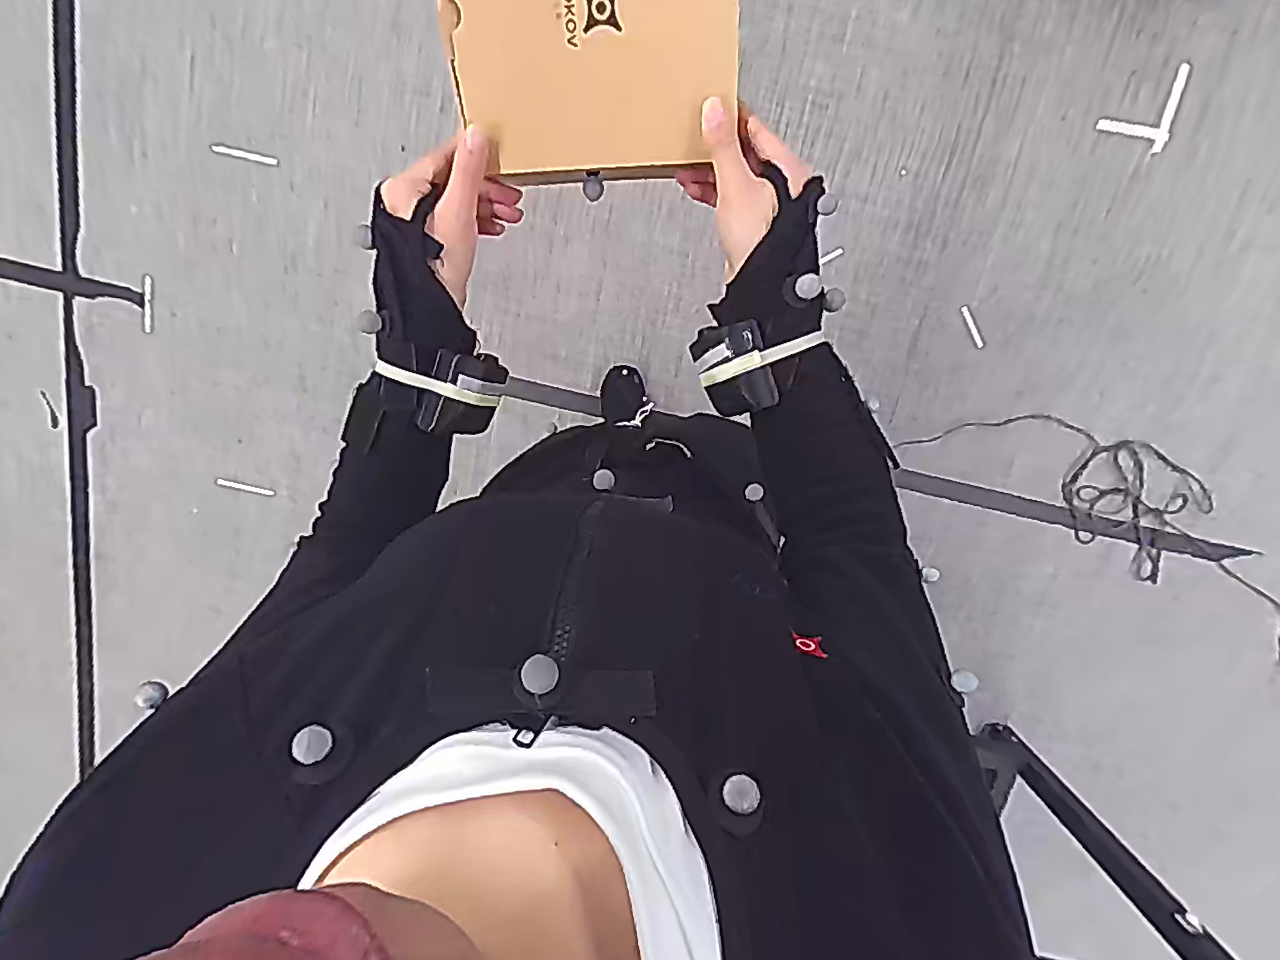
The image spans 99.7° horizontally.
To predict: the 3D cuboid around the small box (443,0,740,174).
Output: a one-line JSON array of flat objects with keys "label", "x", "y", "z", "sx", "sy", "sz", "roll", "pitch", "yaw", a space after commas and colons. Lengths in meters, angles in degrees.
[{"label": "small box", "x": -0.033, "y": -0.318, "z": 0.385, "sx": 0.179, "sy": 0.176, "sz": 0.168, "roll": -4, "pitch": 117, "yaw": -2}]
